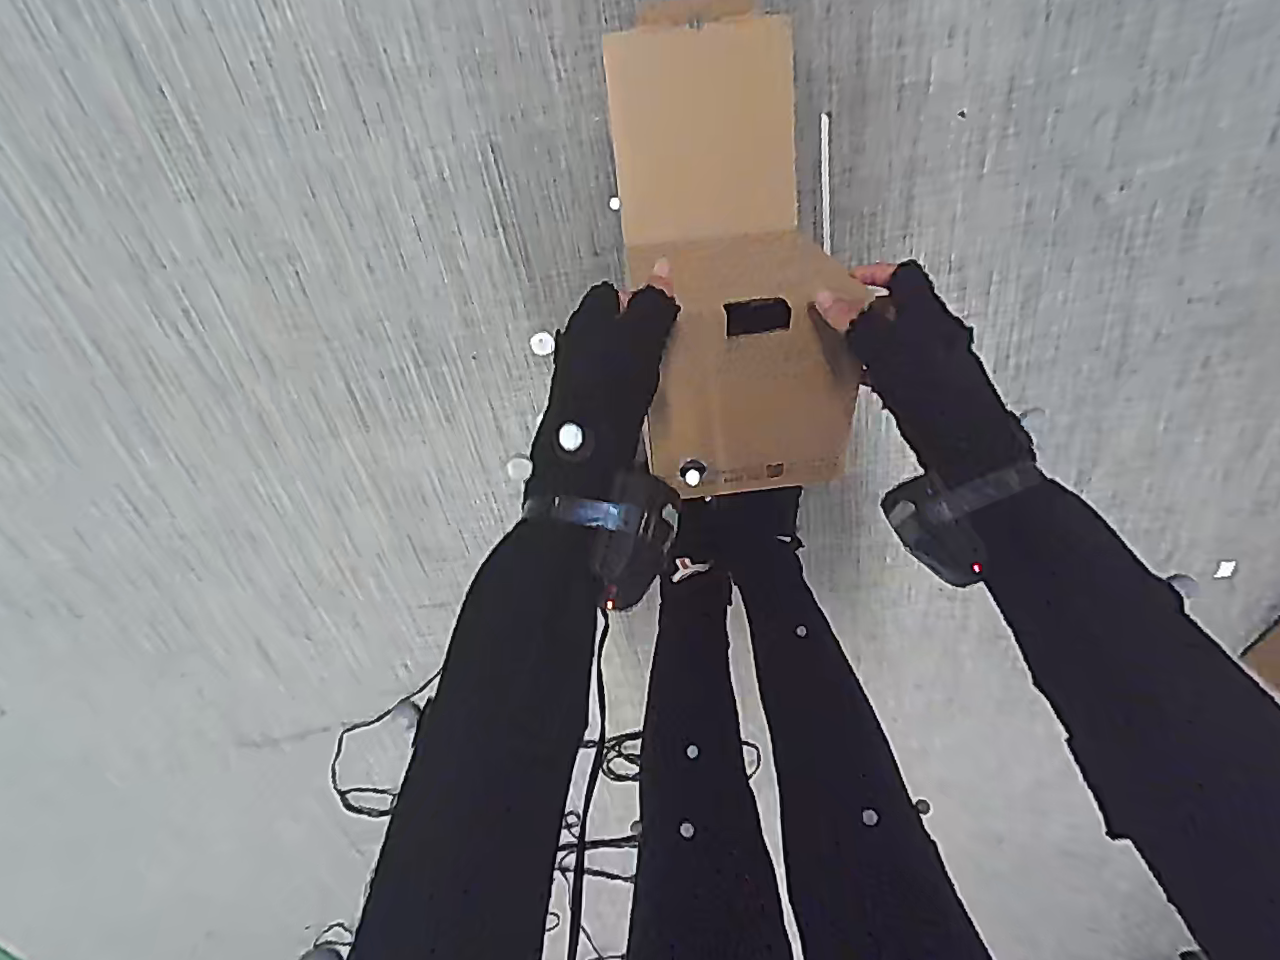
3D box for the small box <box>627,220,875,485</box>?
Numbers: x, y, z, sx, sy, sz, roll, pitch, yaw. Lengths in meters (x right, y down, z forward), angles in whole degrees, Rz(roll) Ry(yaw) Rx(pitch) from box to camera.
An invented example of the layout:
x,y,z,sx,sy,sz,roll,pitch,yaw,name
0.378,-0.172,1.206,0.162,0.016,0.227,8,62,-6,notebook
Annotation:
x,y,z,sx,sy,sz,roll,pitch,yaw,name
0.081,-0.108,0.479,0.168,0.179,0.176,-6,132,0,small box
